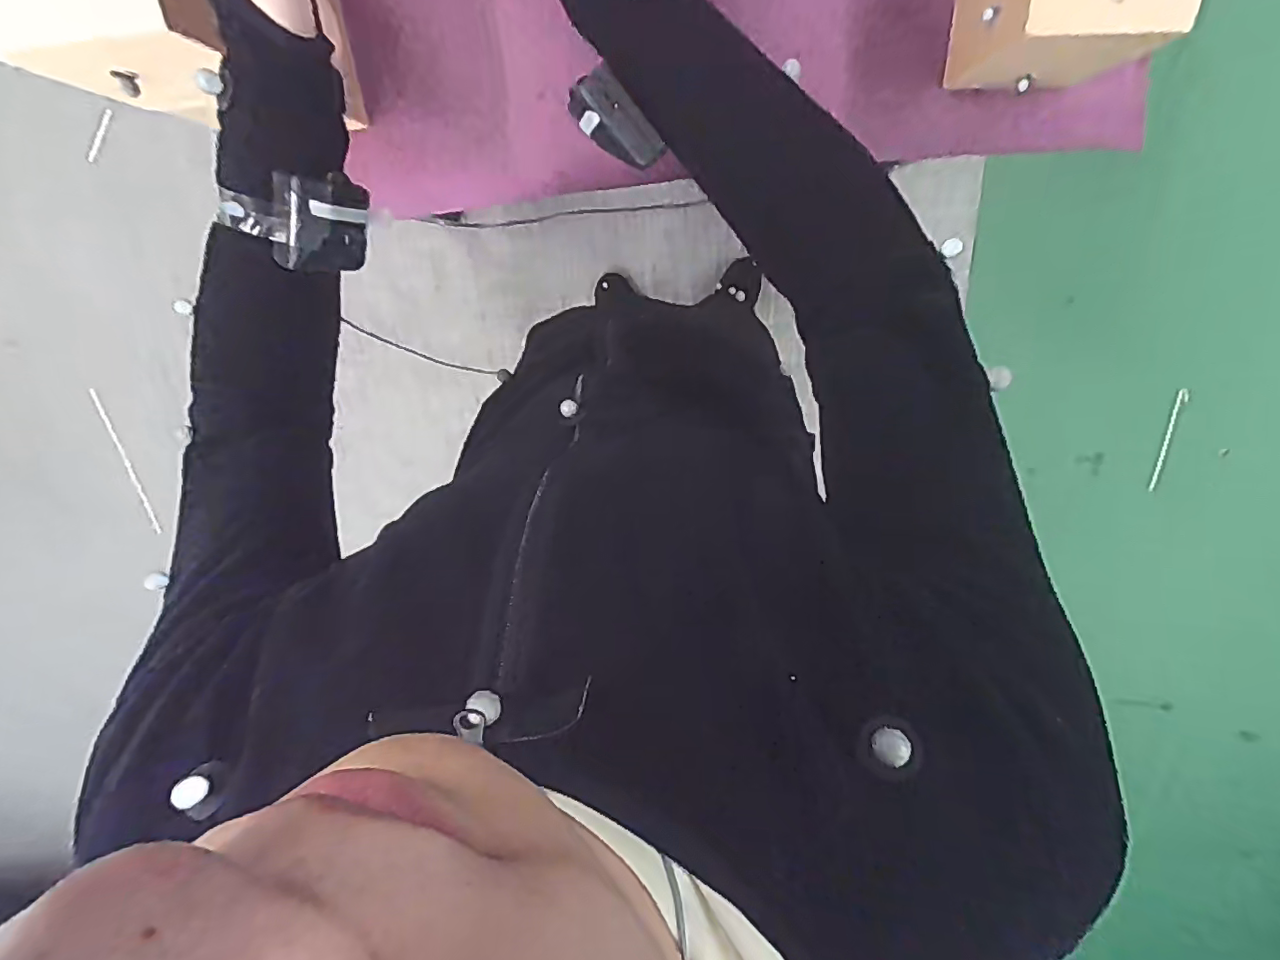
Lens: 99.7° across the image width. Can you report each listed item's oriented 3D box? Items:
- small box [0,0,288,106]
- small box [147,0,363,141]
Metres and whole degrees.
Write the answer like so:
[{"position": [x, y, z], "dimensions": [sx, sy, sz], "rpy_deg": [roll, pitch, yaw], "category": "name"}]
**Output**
[{"position": [-0.445, -0.444, 0.462], "dimensions": [0.168, 0.176, 0.179], "rpy_deg": [-4, 110, 3], "category": "small box"}, {"position": [-0.449, -0.508, 0.611], "dimensions": [0.168, 0.176, 0.179], "rpy_deg": [-4, 111, 3], "category": "small box"}]
